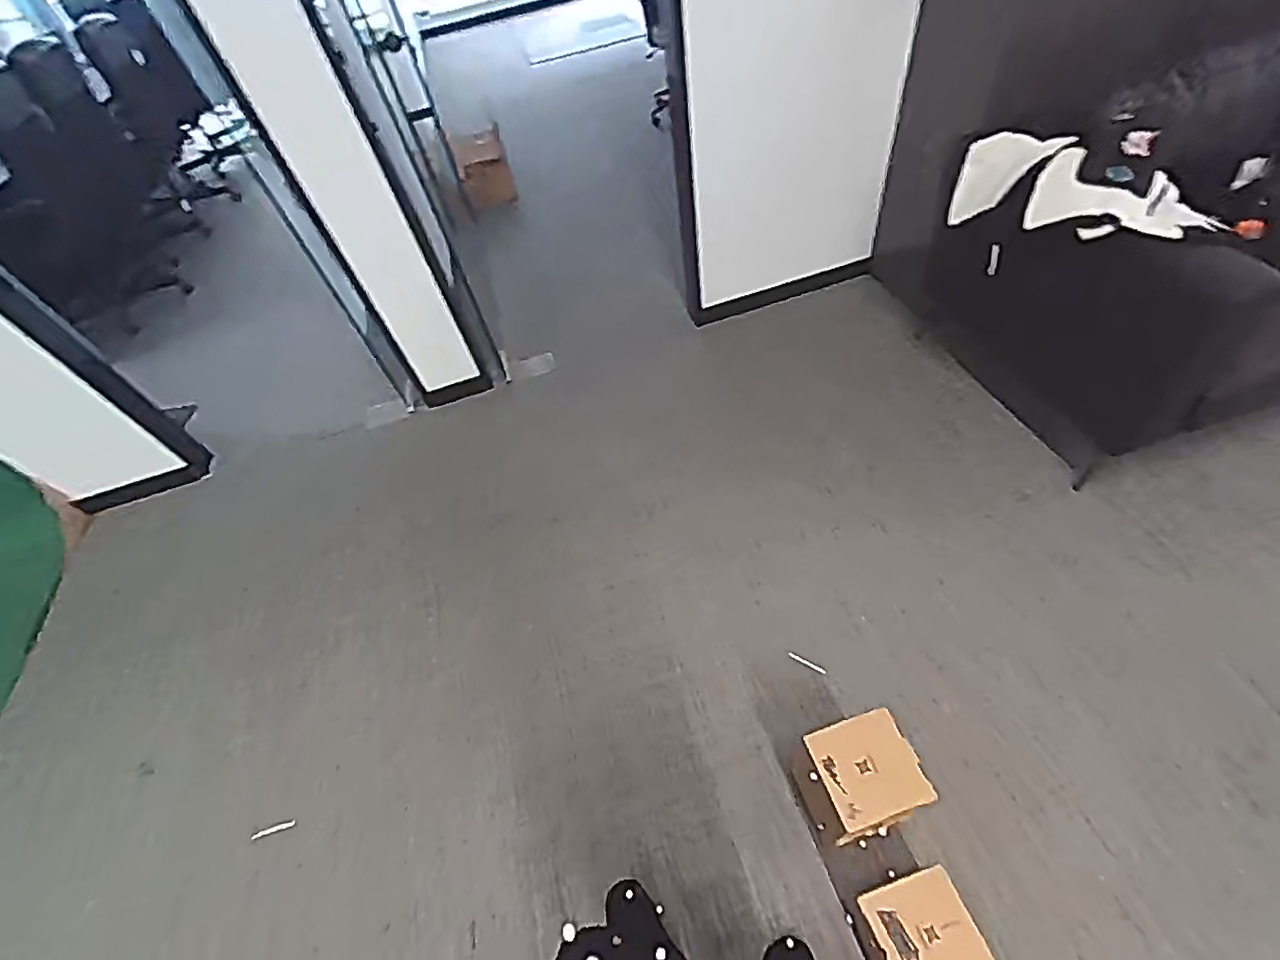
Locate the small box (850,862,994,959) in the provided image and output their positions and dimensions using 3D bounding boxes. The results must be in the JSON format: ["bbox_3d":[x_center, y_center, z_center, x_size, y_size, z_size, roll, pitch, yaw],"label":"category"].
[{"bbox_3d":[0.515,0.847,1.014,0.179,0.176,0.168,-18,51,-5],"label":"small box"}]

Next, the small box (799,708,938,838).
[{"bbox_3d":[0.427,0.568,1.044,0.179,0.176,0.168,-17,51,-4],"label":"small box"}]
